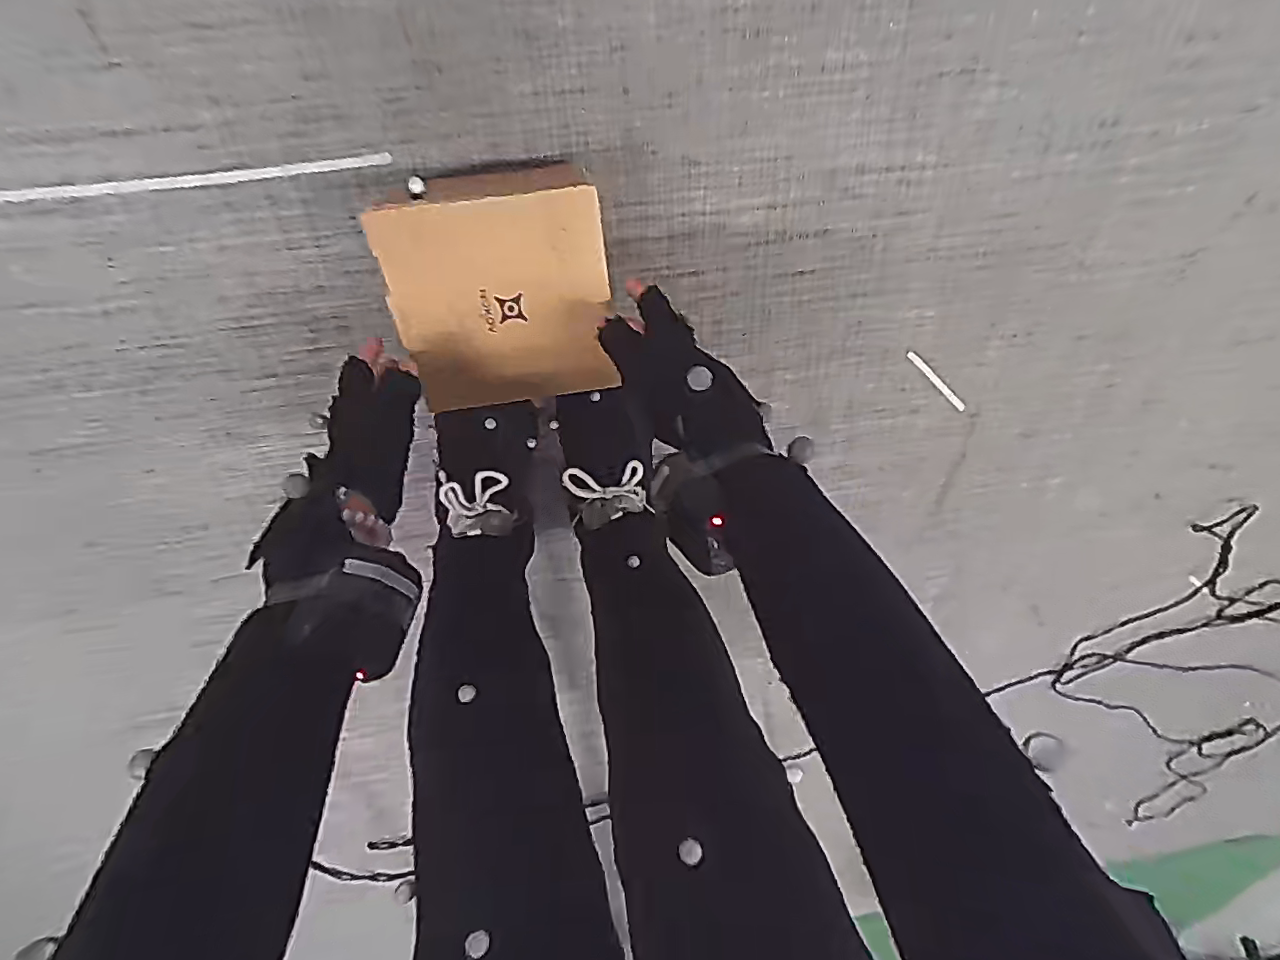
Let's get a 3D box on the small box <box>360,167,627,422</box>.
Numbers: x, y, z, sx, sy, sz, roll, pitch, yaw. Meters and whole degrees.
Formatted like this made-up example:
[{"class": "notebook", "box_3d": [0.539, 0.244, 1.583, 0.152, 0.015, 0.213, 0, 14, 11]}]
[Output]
[{"class": "small box", "box_3d": [-0.115, -0.174, 0.490, 0.179, 0.176, 0.168, -9, 126, -3]}]
